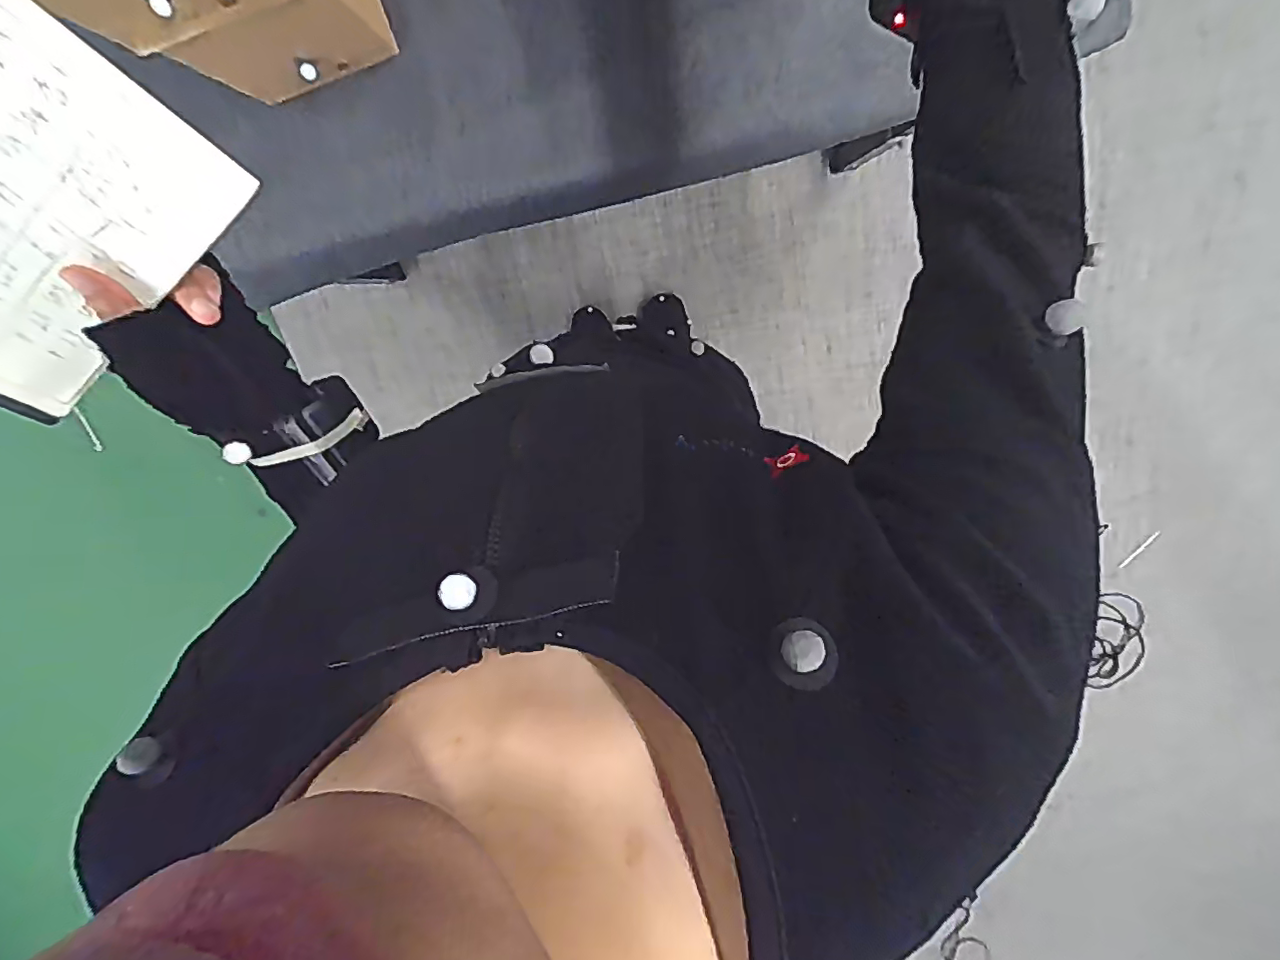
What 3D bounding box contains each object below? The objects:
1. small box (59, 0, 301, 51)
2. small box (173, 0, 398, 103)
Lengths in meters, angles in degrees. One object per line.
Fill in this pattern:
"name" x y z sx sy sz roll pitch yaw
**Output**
"small box" -0.361 -0.429 0.344 0.168 0.176 0.179 -15 109 6
"small box" -0.361 -0.491 0.494 0.168 0.176 0.179 -16 108 7
